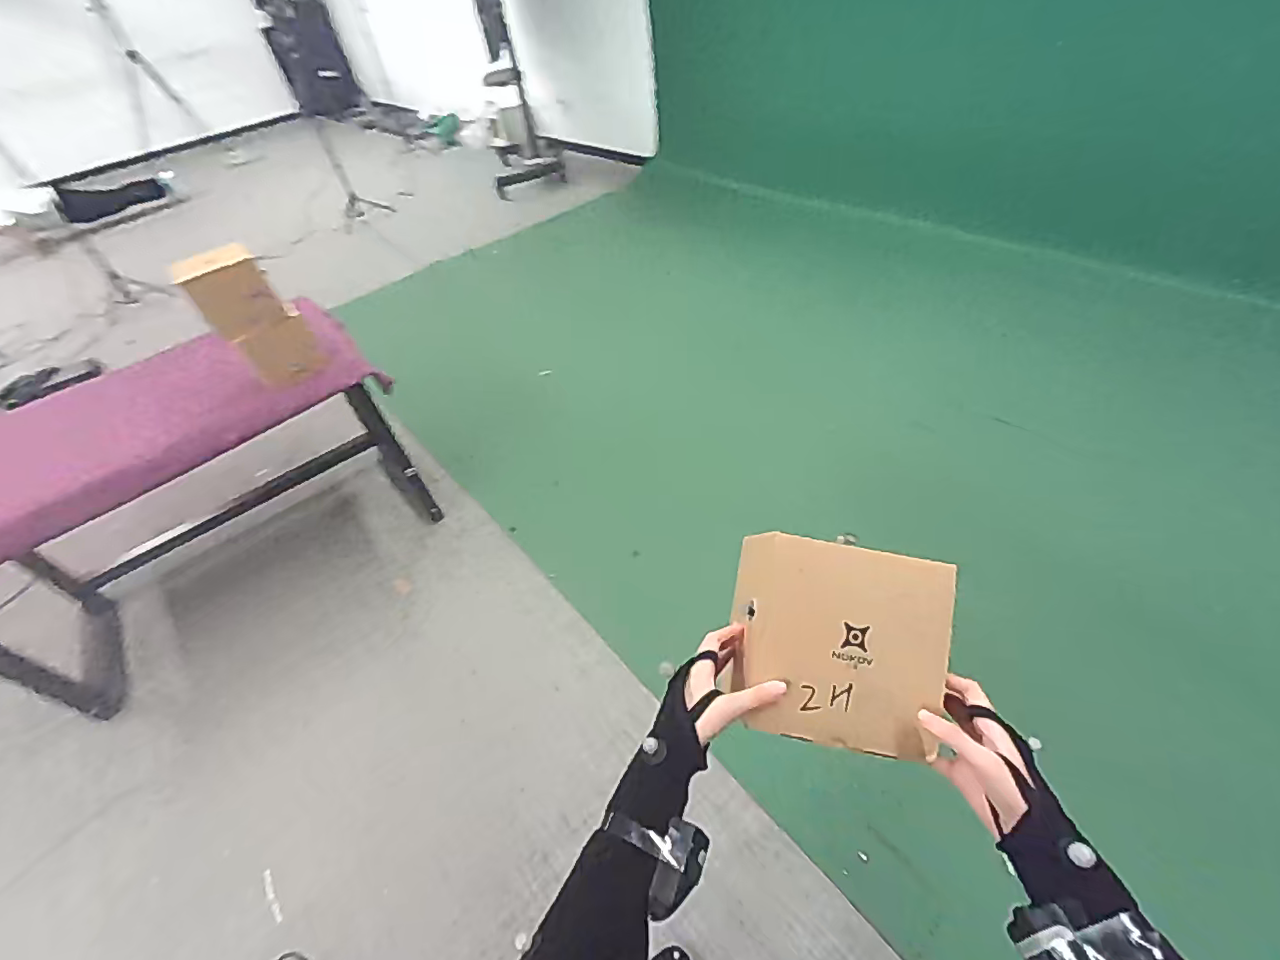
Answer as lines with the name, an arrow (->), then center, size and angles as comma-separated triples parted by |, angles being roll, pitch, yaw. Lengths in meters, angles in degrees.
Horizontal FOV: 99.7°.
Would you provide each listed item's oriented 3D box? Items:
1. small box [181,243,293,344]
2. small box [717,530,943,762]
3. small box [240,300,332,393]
small box -> -1.044, -0.488, 1.416 | 0.179, 0.176, 0.168 | -34, 50, -19
small box -> 0.178, 0.154, 0.555 | 0.168, 0.176, 0.179 | 10, 83, 3
small box -> -1.008, -0.378, 1.532 | 0.179, 0.176, 0.168 | -38, 51, -24
